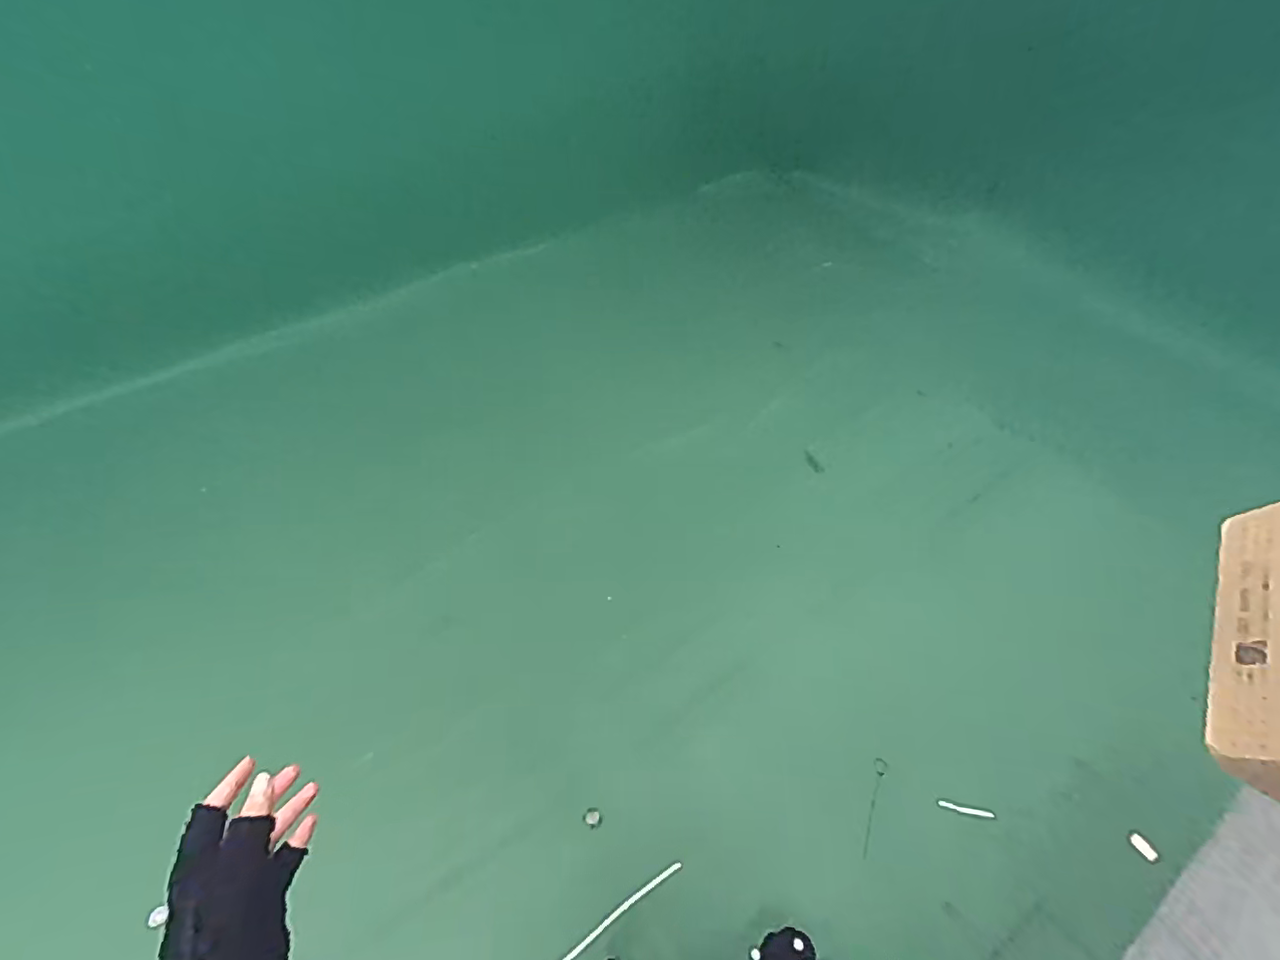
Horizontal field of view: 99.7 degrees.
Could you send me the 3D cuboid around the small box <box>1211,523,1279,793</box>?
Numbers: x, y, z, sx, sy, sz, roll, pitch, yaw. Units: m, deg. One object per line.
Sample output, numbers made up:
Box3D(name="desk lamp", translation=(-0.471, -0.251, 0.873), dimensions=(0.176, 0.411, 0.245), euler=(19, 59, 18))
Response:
Box3D(name="small box", translation=(0.429, 0.100, 0.238), dimensions=(0.179, 0.176, 0.168), euler=(32, 66, 4))
